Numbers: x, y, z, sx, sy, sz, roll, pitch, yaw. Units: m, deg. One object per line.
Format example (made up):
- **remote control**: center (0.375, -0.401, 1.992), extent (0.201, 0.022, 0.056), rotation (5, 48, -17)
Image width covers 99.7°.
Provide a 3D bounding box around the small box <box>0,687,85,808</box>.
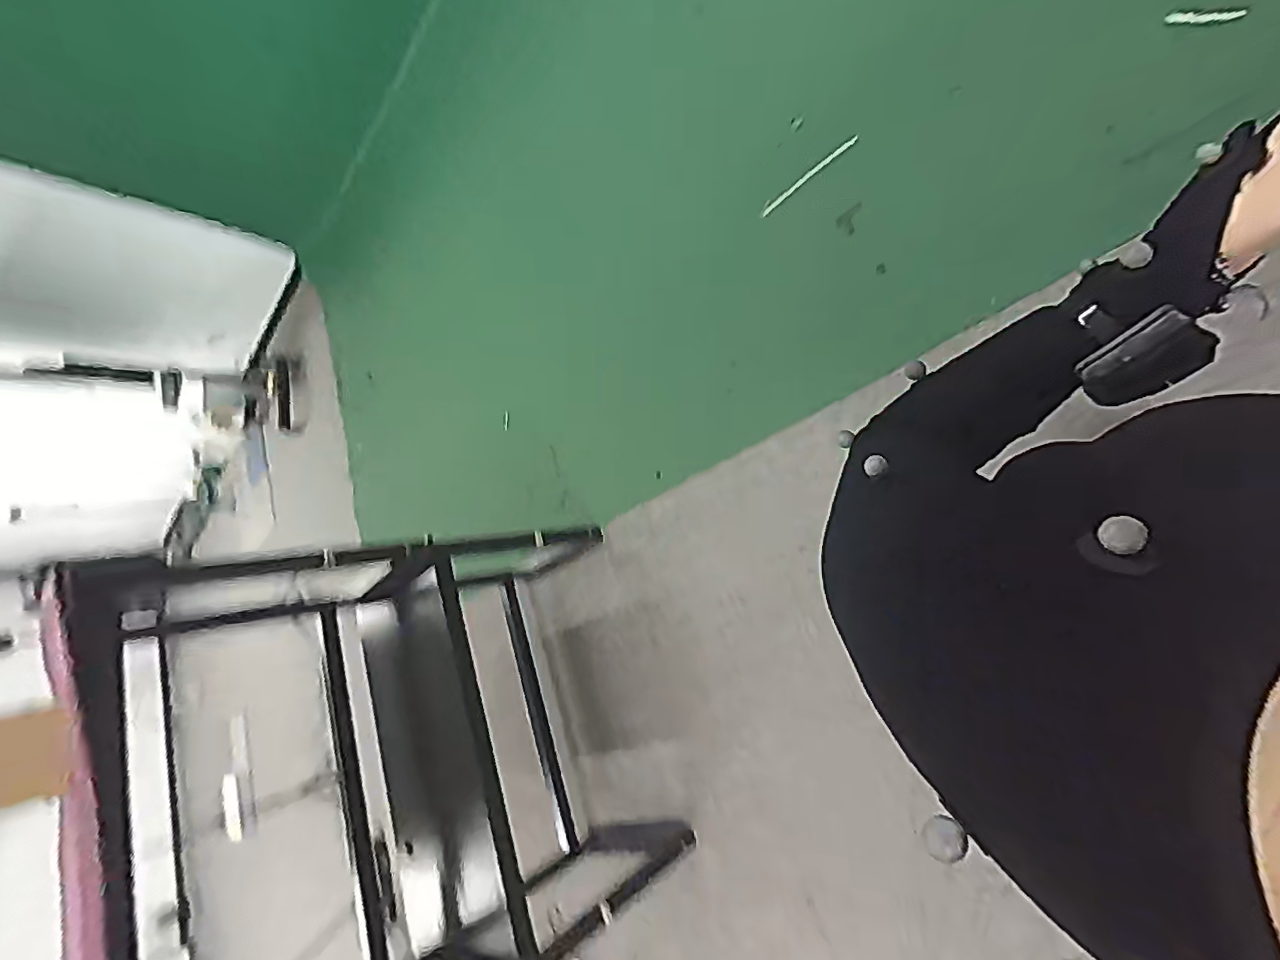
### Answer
- **small box**: center (-1.160, 0.508, 1.010), extent (0.168, 0.176, 0.179), rotation (-29, 72, 39)
